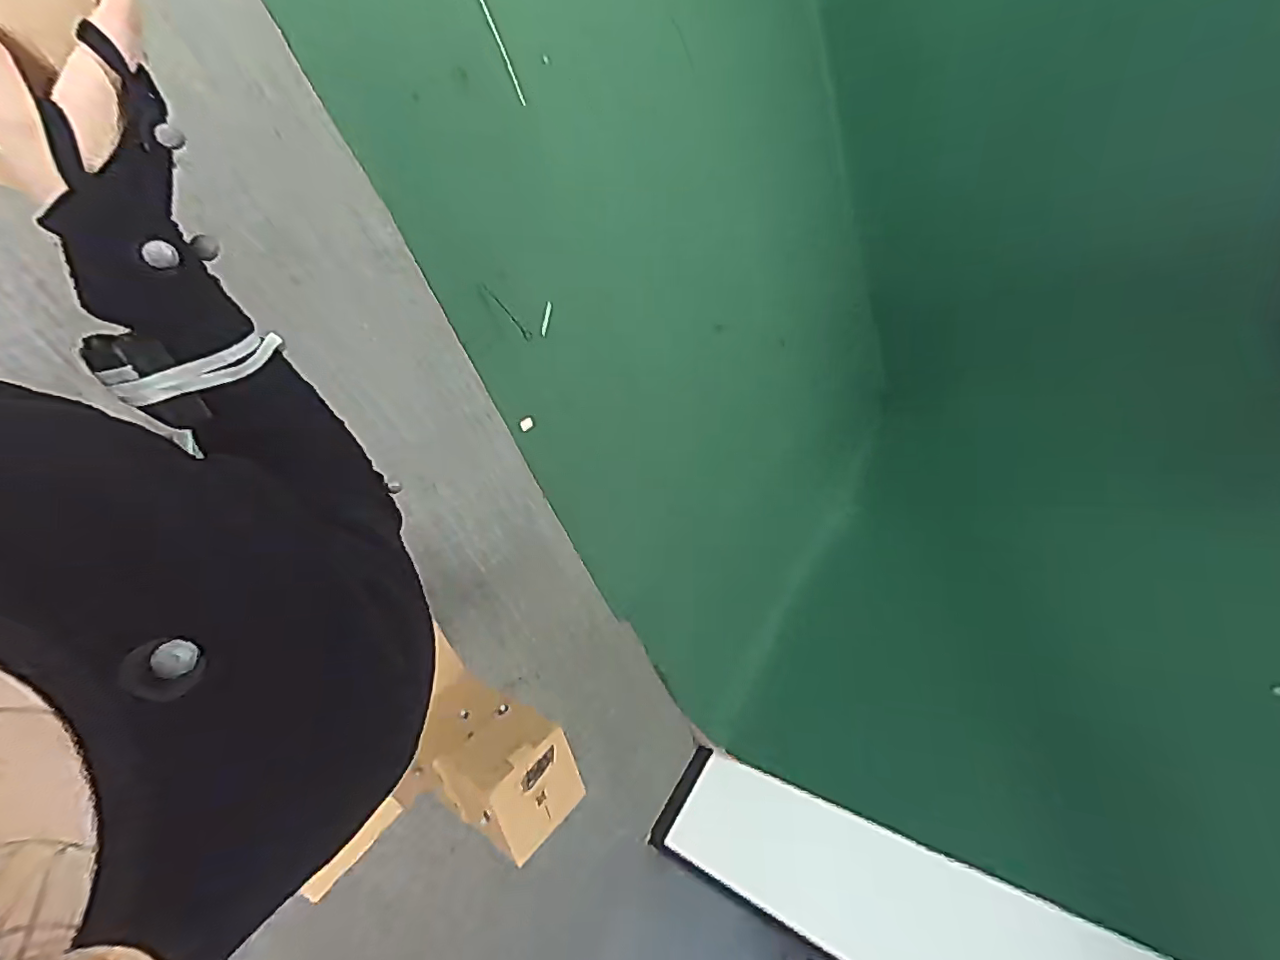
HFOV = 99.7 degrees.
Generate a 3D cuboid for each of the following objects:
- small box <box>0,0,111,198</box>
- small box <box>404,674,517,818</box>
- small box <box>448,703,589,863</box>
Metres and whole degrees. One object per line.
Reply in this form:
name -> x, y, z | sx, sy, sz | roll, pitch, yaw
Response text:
small box -> -0.396, -0.283, 0.277 | 0.168, 0.176, 0.179 | 7, 118, -43
small box -> -0.349, 0.534, 1.115 | 0.179, 0.176, 0.168 | -34, 116, -39
small box -> -0.227, 0.544, 1.004 | 0.168, 0.176, 0.179 | -32, 117, -40
